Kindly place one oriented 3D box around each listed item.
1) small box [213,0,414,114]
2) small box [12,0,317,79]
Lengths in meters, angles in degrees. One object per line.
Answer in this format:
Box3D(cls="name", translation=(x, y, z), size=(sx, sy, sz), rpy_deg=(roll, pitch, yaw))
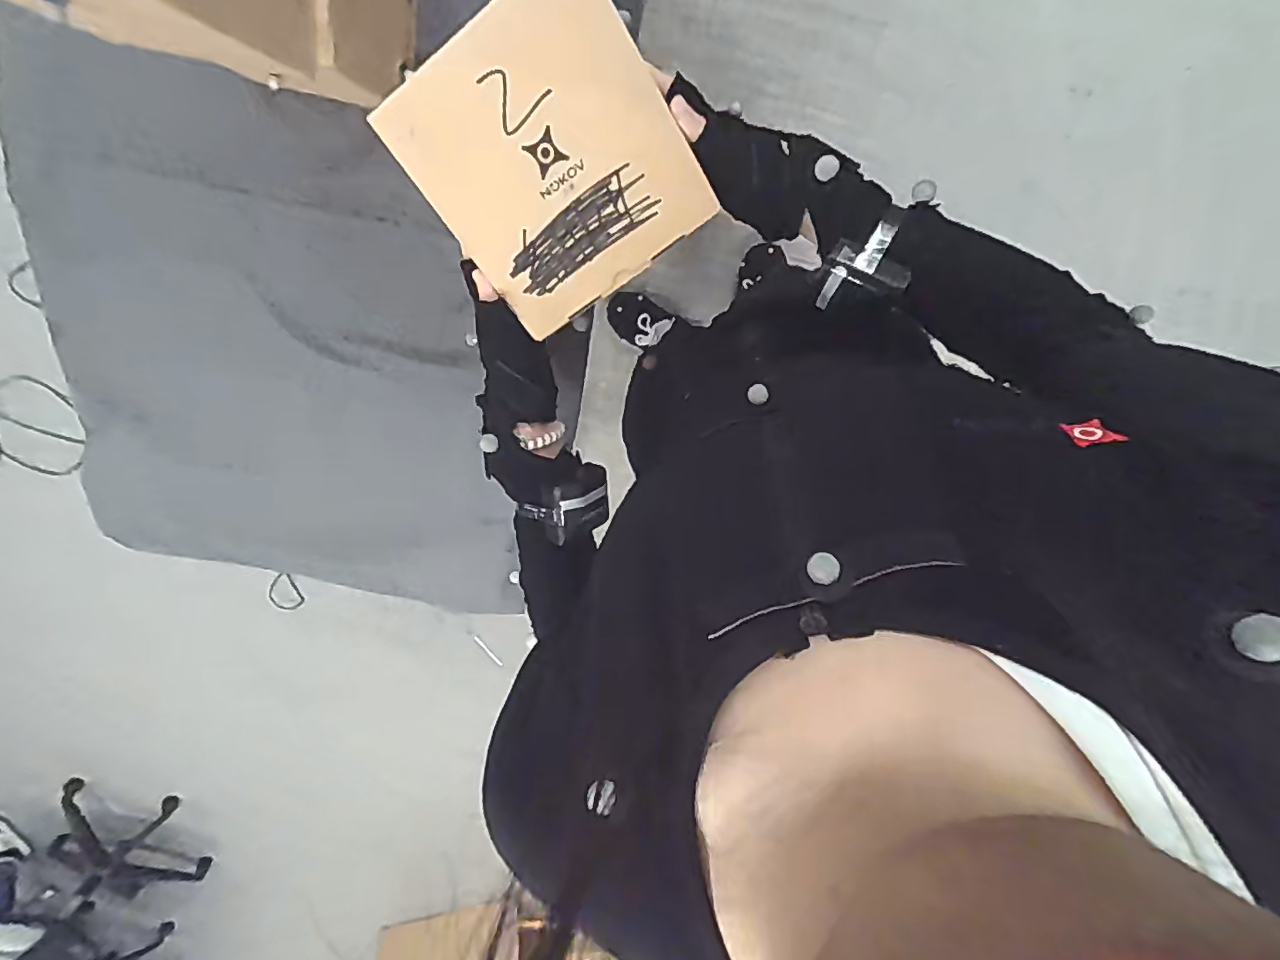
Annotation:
Box3D(cls="small box", translation=(-0.325, -0.466, 0.503), size=(0.179, 0.176, 0.168), rpy_deg=(12, 112, -1))
Box3D(cls="small box", translation=(-0.349, -0.396, 0.355), size=(0.179, 0.176, 0.168), rpy_deg=(10, 113, -2))
